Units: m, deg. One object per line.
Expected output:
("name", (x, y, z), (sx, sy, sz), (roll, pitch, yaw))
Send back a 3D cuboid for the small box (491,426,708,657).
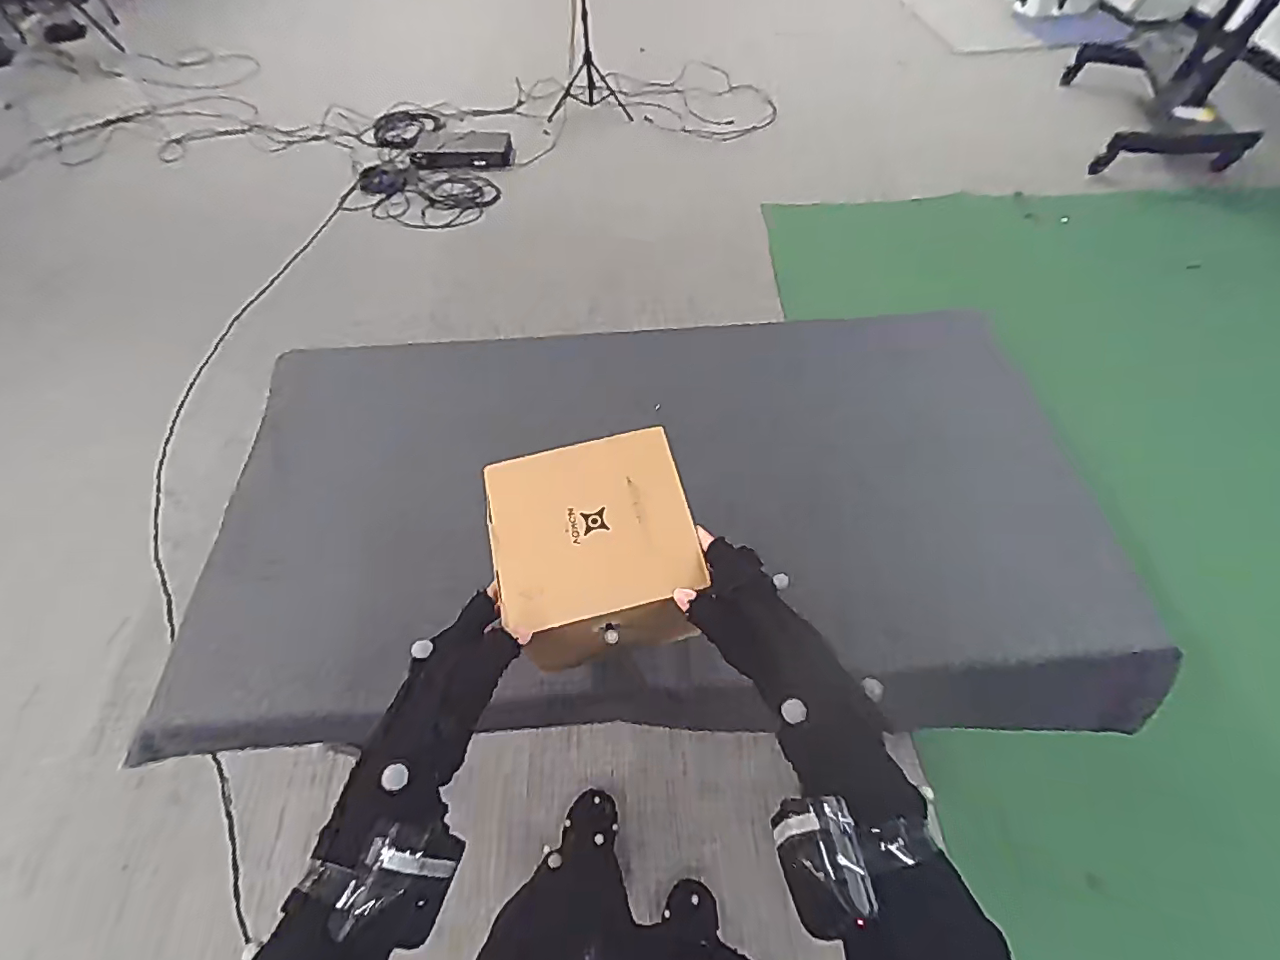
("small box", (-0.039, 0.072, 0.564), (0.179, 0.176, 0.168), (-14, 62, -6))
